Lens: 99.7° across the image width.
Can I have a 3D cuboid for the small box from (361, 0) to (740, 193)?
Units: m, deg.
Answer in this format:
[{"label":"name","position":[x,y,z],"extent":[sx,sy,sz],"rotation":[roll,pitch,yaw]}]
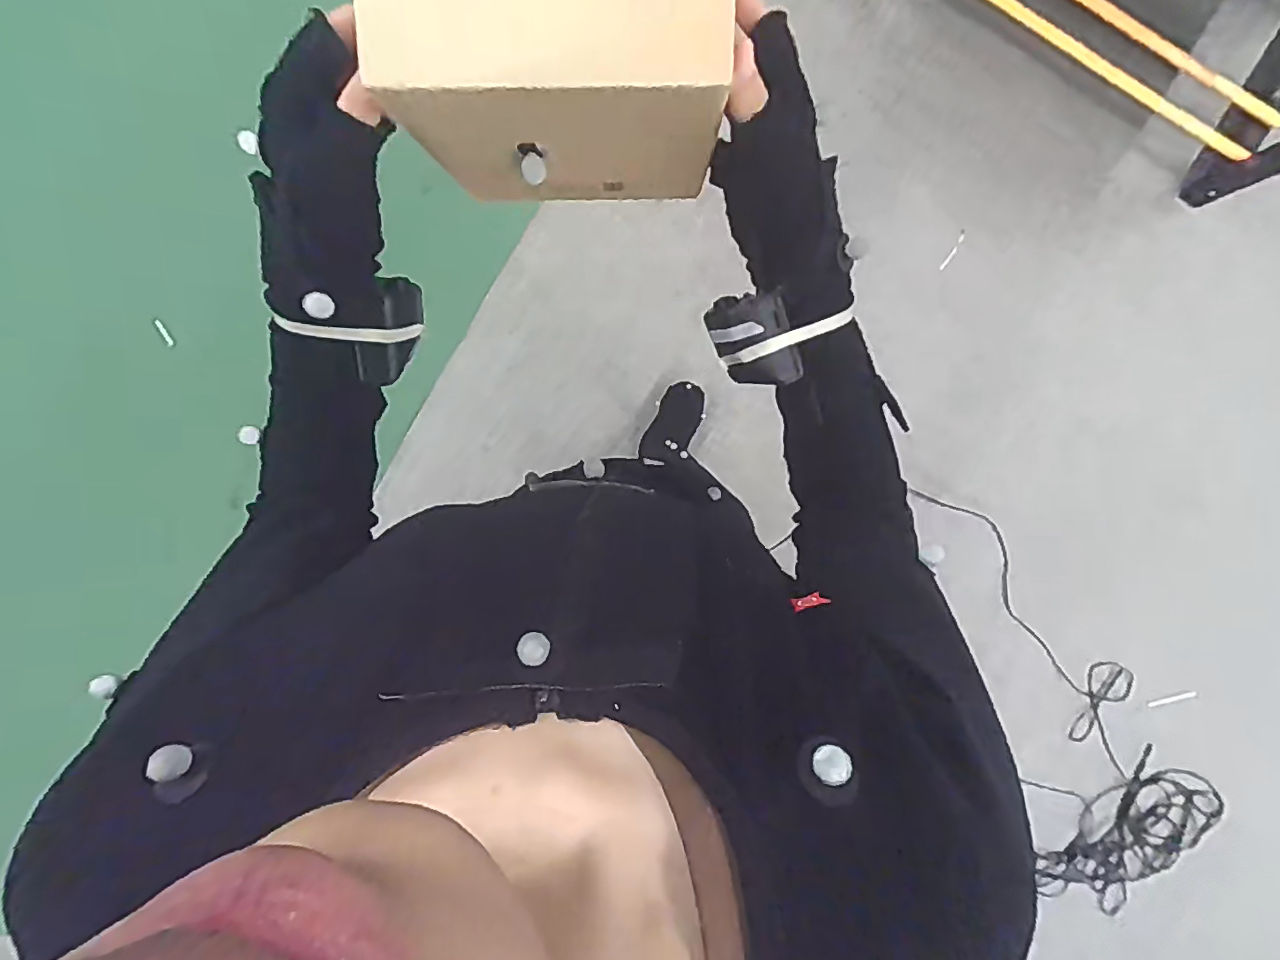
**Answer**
[{"label":"small box","position":[-0.035,-0.274,0.297],"extent":[0.168,0.176,0.179],"rotation":[0,101,1]}]
